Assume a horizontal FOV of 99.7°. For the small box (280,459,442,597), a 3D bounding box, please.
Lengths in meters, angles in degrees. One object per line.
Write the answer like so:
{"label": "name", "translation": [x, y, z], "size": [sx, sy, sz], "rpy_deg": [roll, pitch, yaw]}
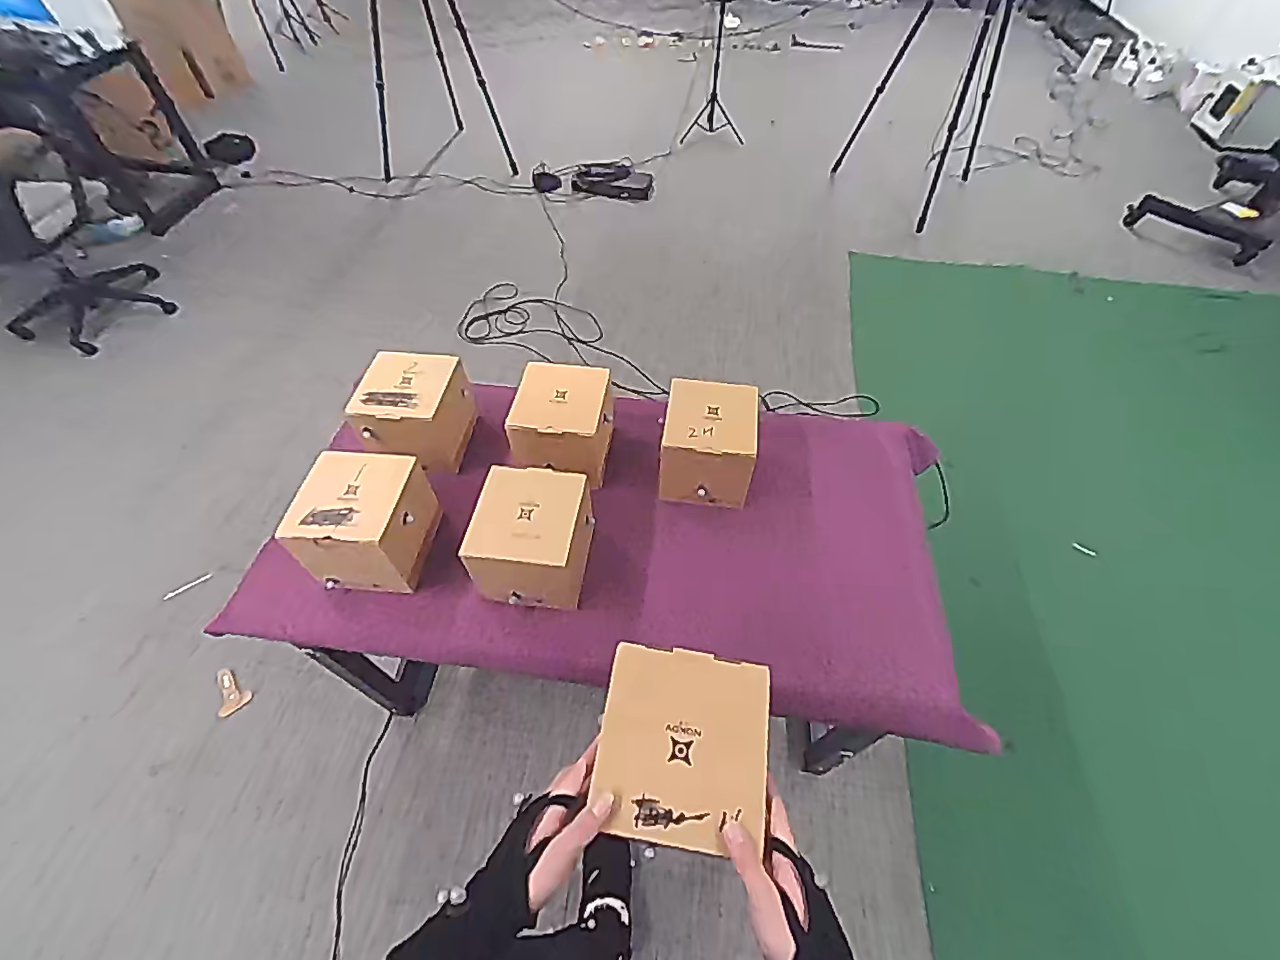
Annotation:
{"label": "small box", "translation": [-0.465, 0.086, 0.938], "size": [0.168, 0.176, 0.179], "rpy_deg": [4, 51, 3]}

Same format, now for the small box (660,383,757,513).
{"label": "small box", "translation": [0.129, -0.060, 1.044], "size": [0.168, 0.176, 0.179], "rpy_deg": [6, 54, 6]}

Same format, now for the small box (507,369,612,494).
{"label": "small box", "translation": [-0.149, -0.095, 1.078], "size": [0.168, 0.176, 0.179], "rpy_deg": [6, 54, 5]}

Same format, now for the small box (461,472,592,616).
{"label": "small box", "translation": [-0.179, 0.110, 0.922], "size": [0.168, 0.176, 0.179], "rpy_deg": [5, 54, 6]}
